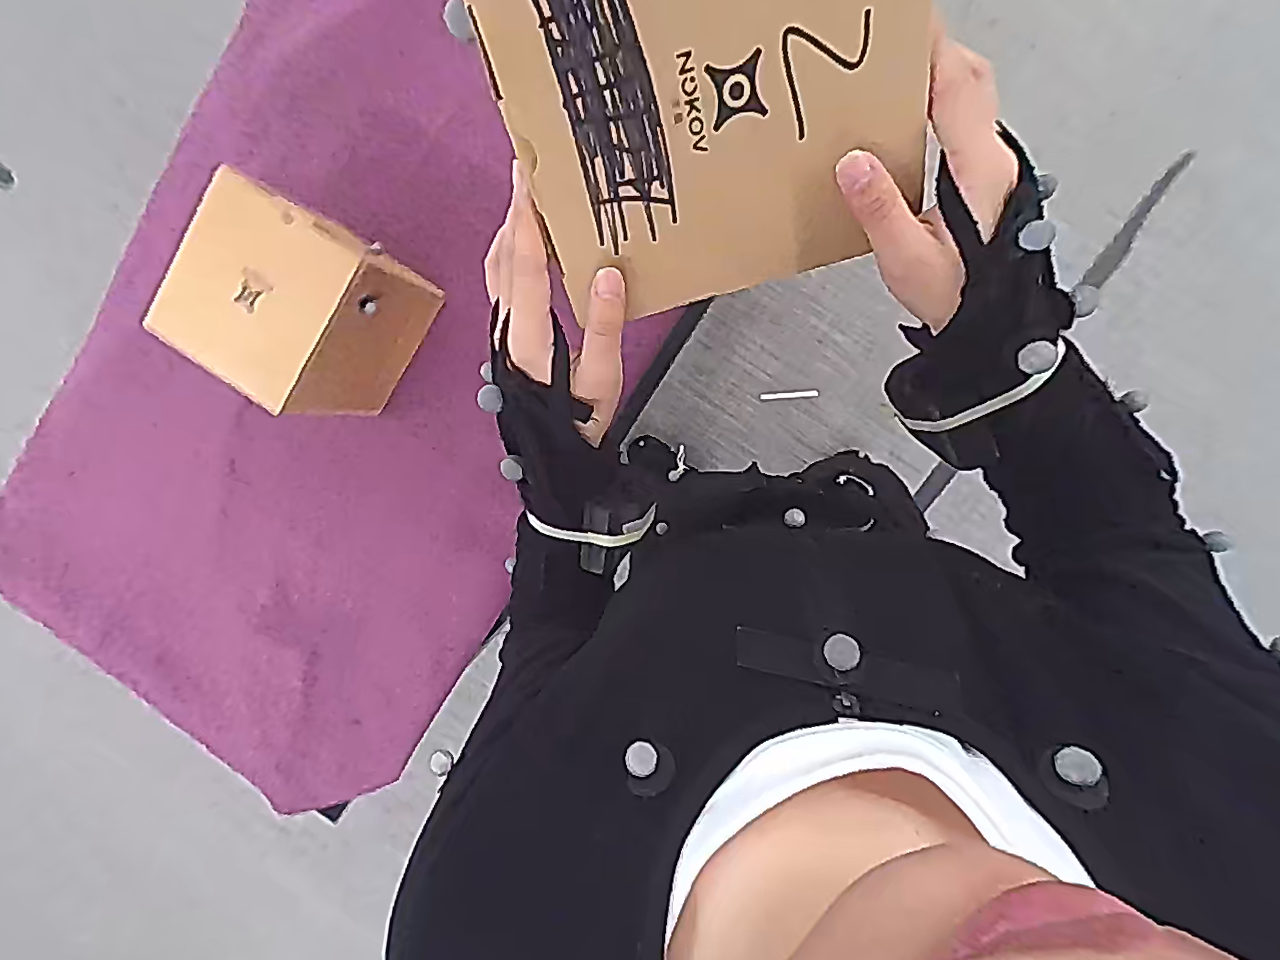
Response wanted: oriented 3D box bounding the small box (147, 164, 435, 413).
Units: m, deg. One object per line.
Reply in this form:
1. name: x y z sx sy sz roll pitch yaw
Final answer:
1. small box: -0.358 -0.186 0.589 0.168 0.176 0.179 33 98 2
